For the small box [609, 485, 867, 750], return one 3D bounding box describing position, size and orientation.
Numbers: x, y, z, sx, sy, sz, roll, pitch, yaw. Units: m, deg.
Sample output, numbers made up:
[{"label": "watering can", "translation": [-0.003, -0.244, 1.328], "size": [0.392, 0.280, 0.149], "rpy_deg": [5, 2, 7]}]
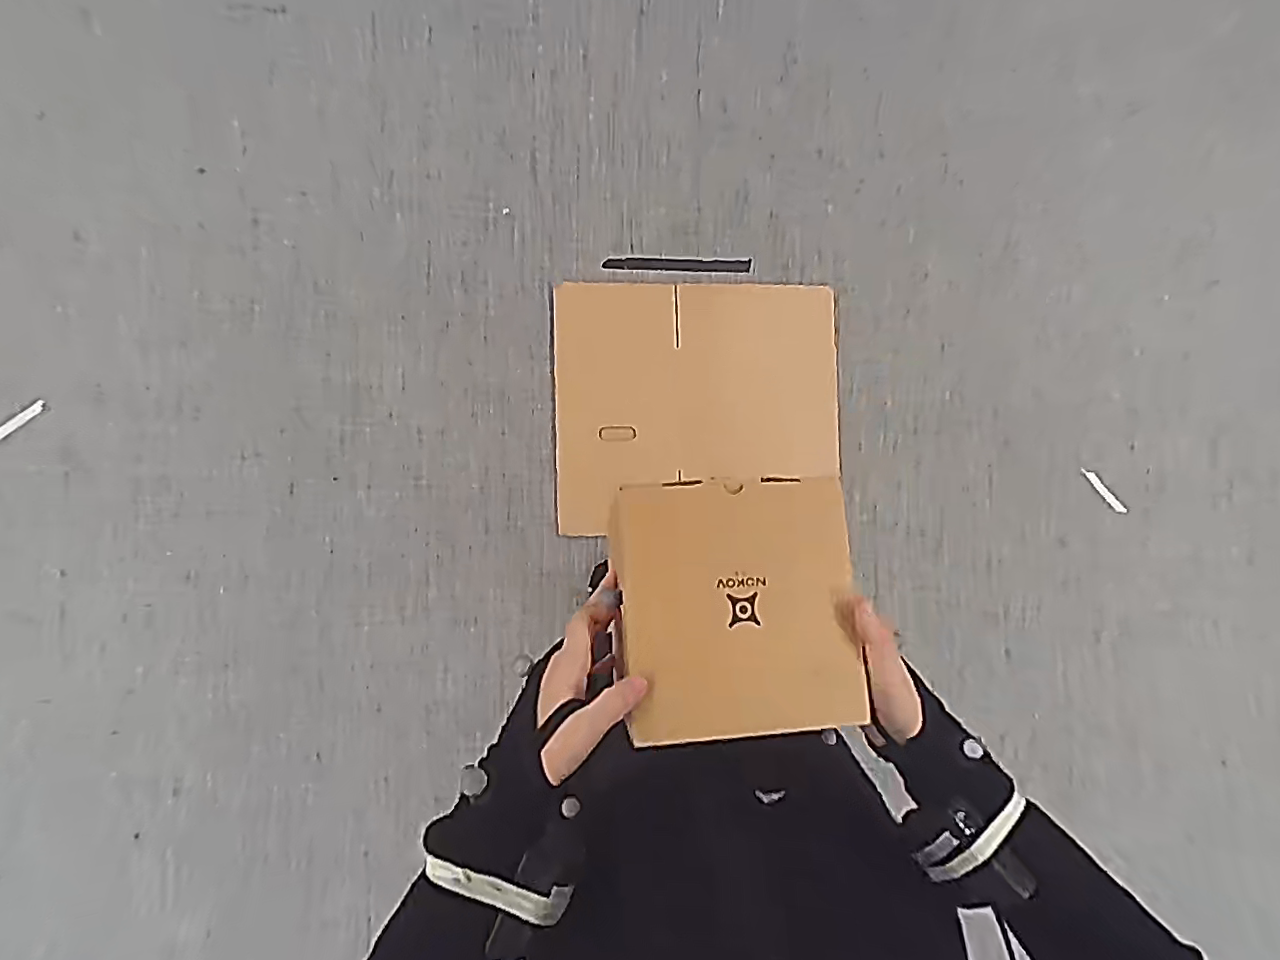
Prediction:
[{"label": "small box", "translation": [0.063, 0.105, 0.456], "size": [0.168, 0.176, 0.179], "rpy_deg": [-2, 79, -8]}]
